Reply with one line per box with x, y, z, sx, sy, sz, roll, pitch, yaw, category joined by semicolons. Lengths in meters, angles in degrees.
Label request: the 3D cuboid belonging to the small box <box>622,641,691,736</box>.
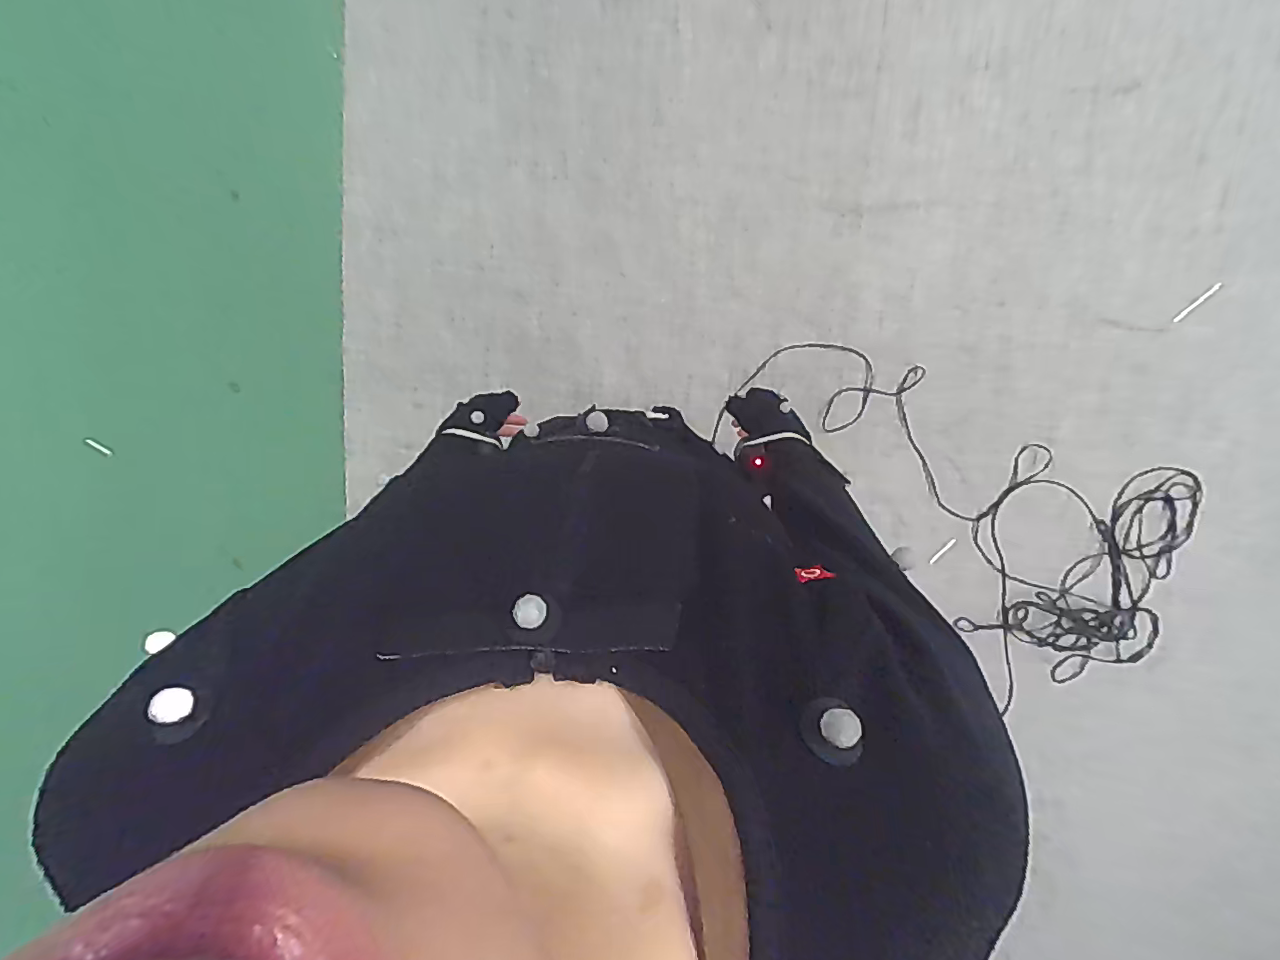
0.045;0.564;1.479;0.168;0.176;0.179;6;97;1;small box
